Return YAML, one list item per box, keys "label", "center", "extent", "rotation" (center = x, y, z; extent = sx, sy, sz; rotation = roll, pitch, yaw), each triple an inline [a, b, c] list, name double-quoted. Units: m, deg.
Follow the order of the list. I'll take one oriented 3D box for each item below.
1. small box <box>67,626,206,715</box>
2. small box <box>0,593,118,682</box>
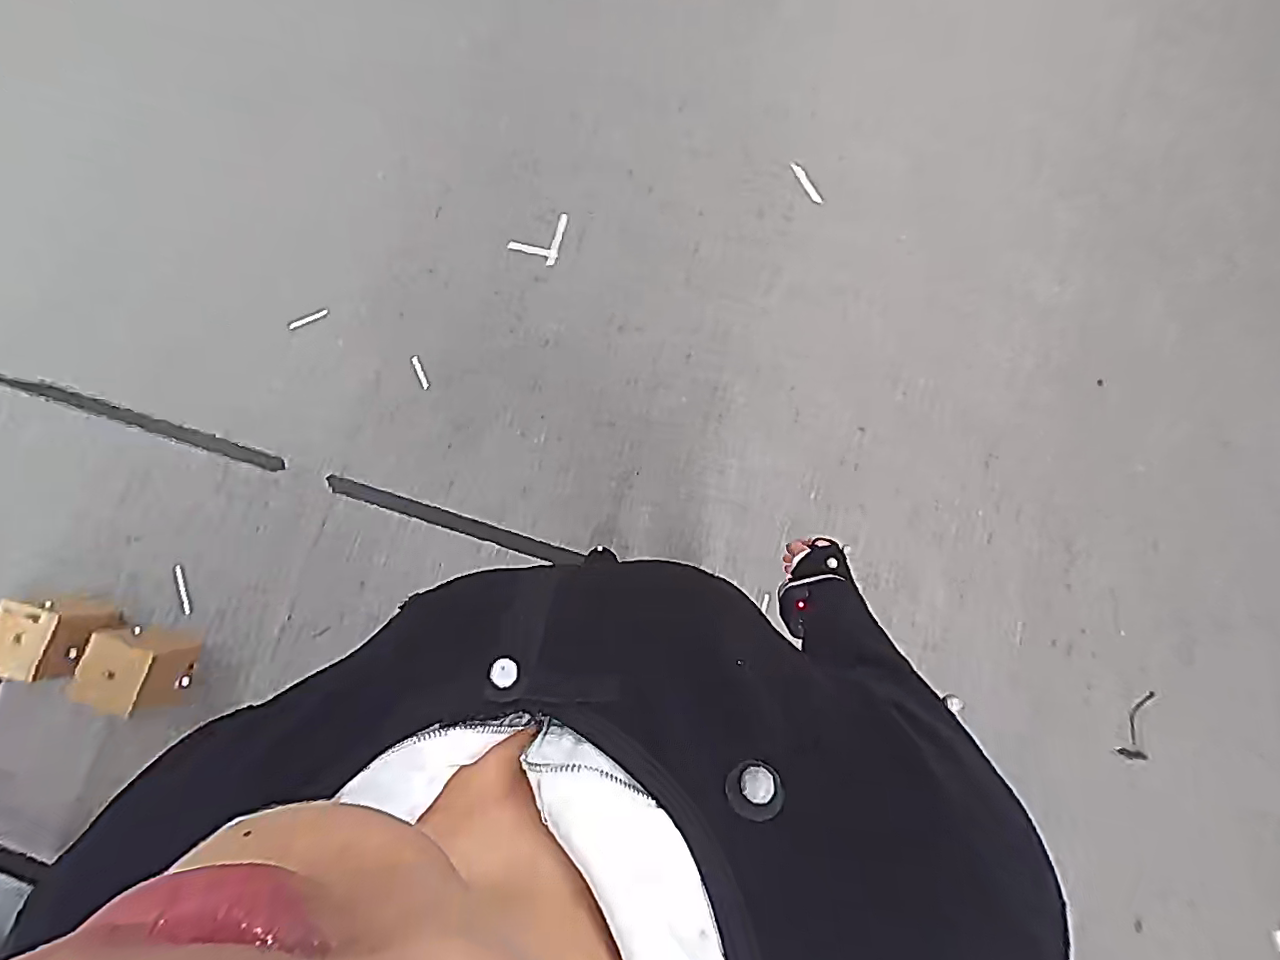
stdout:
- label: "small box"
  center: [-1.315, 0.492, 1.424]
  extent: [0.179, 0.176, 0.168]
  rotation: [16, 83, 3]
- label: "small box"
  center: [-1.565, 0.412, 1.441]
  extent: [0.168, 0.176, 0.179]
  rotation: [16, 83, 3]
